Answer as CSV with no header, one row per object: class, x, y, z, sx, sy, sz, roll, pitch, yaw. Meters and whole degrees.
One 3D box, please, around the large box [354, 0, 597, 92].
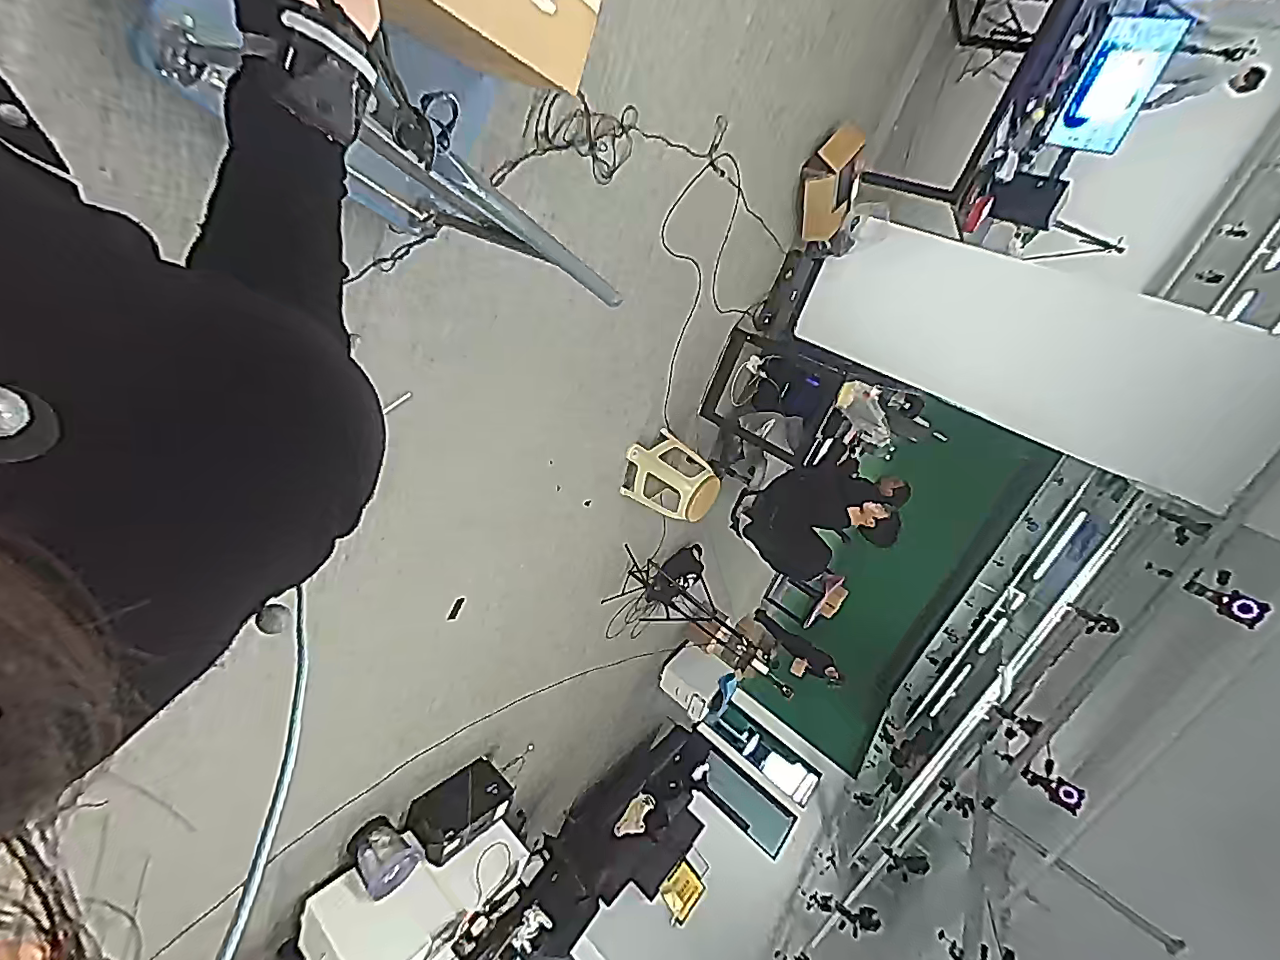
large box,-0.317,-0.973,0.968,0.408,0.320,0.320,-13,130,-54
